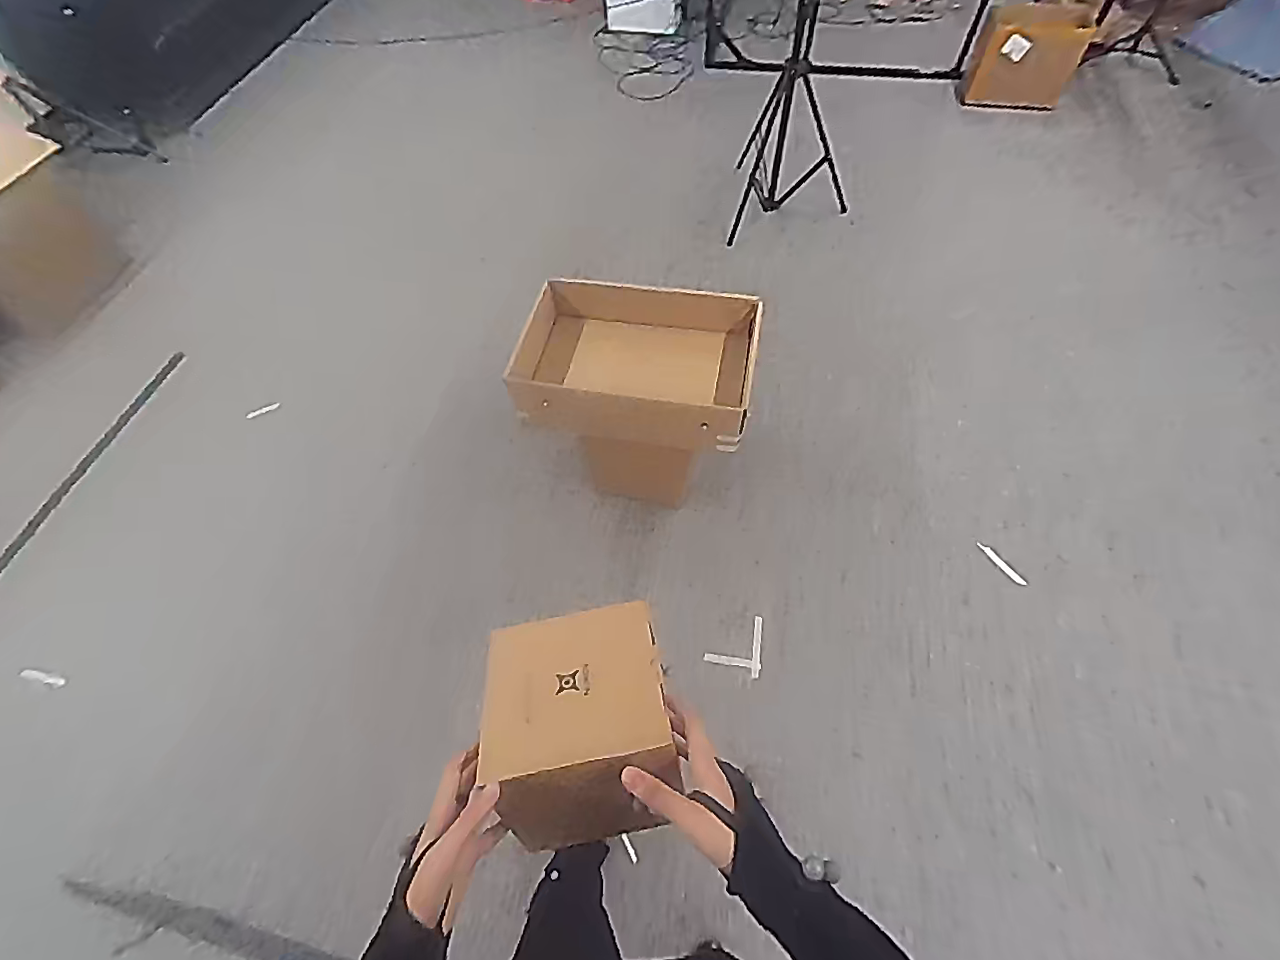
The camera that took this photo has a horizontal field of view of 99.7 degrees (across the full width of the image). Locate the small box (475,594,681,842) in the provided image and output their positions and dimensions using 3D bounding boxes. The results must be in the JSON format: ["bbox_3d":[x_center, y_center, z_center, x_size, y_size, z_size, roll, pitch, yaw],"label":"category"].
[{"bbox_3d":[-0.056,0.252,0.577,0.179,0.176,0.168,-12,36,-1],"label":"small box"}]
